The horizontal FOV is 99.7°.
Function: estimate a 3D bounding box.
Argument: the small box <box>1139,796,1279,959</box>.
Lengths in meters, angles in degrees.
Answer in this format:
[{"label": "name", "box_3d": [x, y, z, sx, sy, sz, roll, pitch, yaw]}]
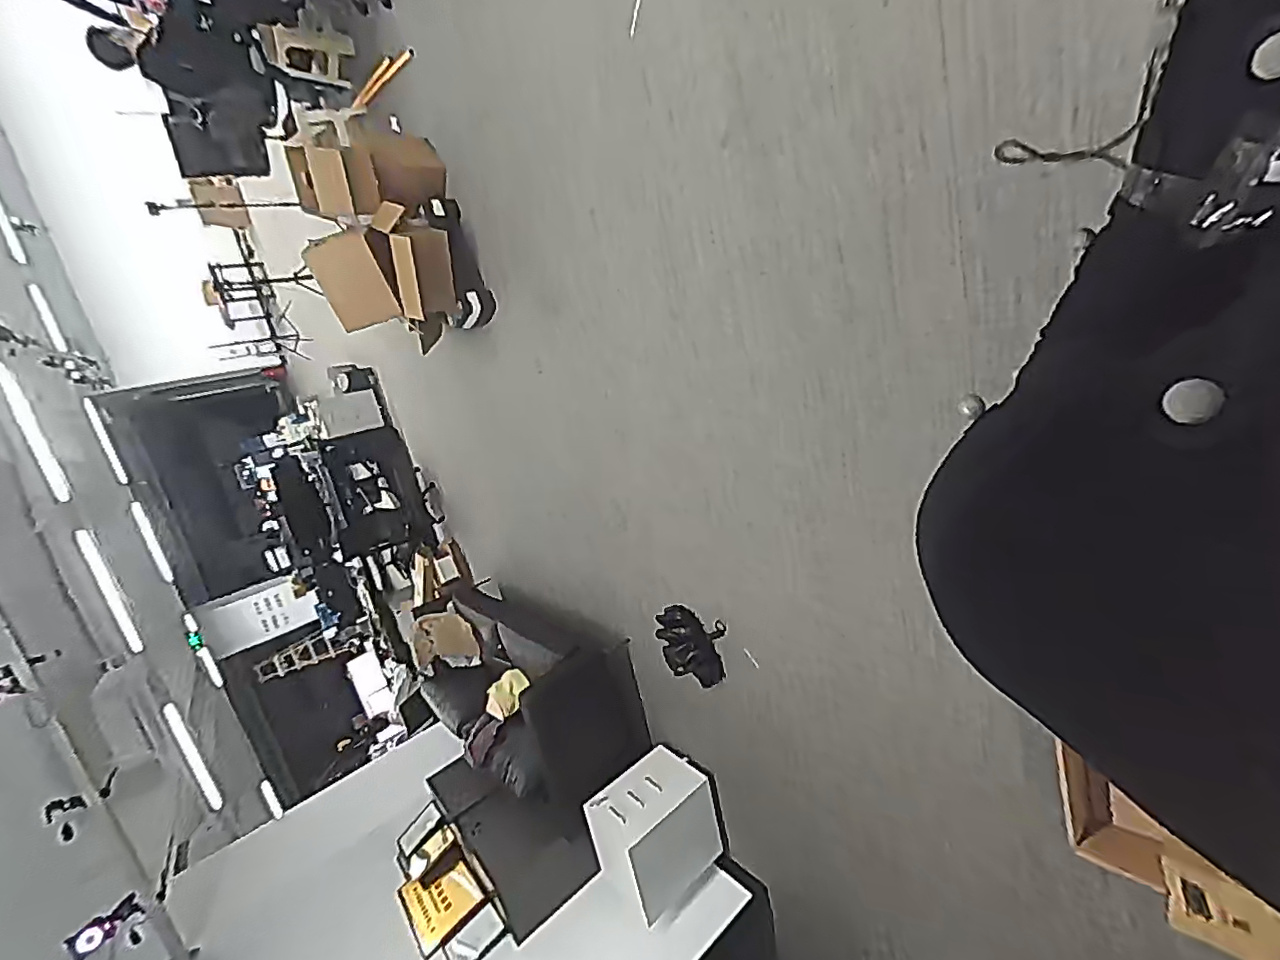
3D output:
[{"label": "small box", "box_3d": [1.076, 0.736, 1.013, 0.179, 0.176, 0.168, 0, 109, 52]}]
